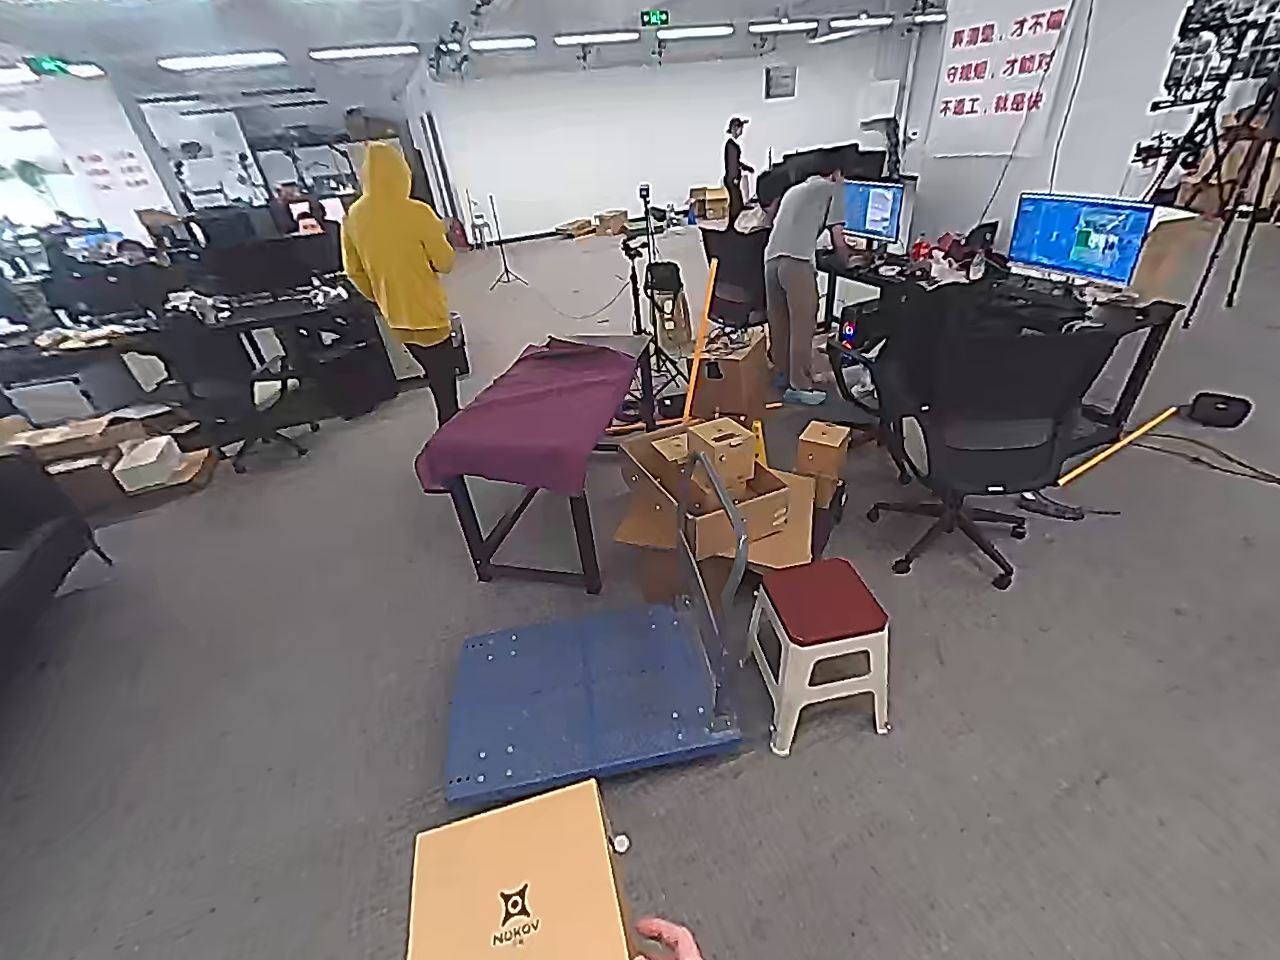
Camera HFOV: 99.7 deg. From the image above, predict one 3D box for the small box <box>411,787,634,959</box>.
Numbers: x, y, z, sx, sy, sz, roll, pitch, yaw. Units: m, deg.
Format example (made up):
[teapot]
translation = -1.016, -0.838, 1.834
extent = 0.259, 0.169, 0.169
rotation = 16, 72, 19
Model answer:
[small box]
translation = -0.095, 0.420, 0.482
extent = 0.168, 0.176, 0.179
rotation = -12, 37, -8
